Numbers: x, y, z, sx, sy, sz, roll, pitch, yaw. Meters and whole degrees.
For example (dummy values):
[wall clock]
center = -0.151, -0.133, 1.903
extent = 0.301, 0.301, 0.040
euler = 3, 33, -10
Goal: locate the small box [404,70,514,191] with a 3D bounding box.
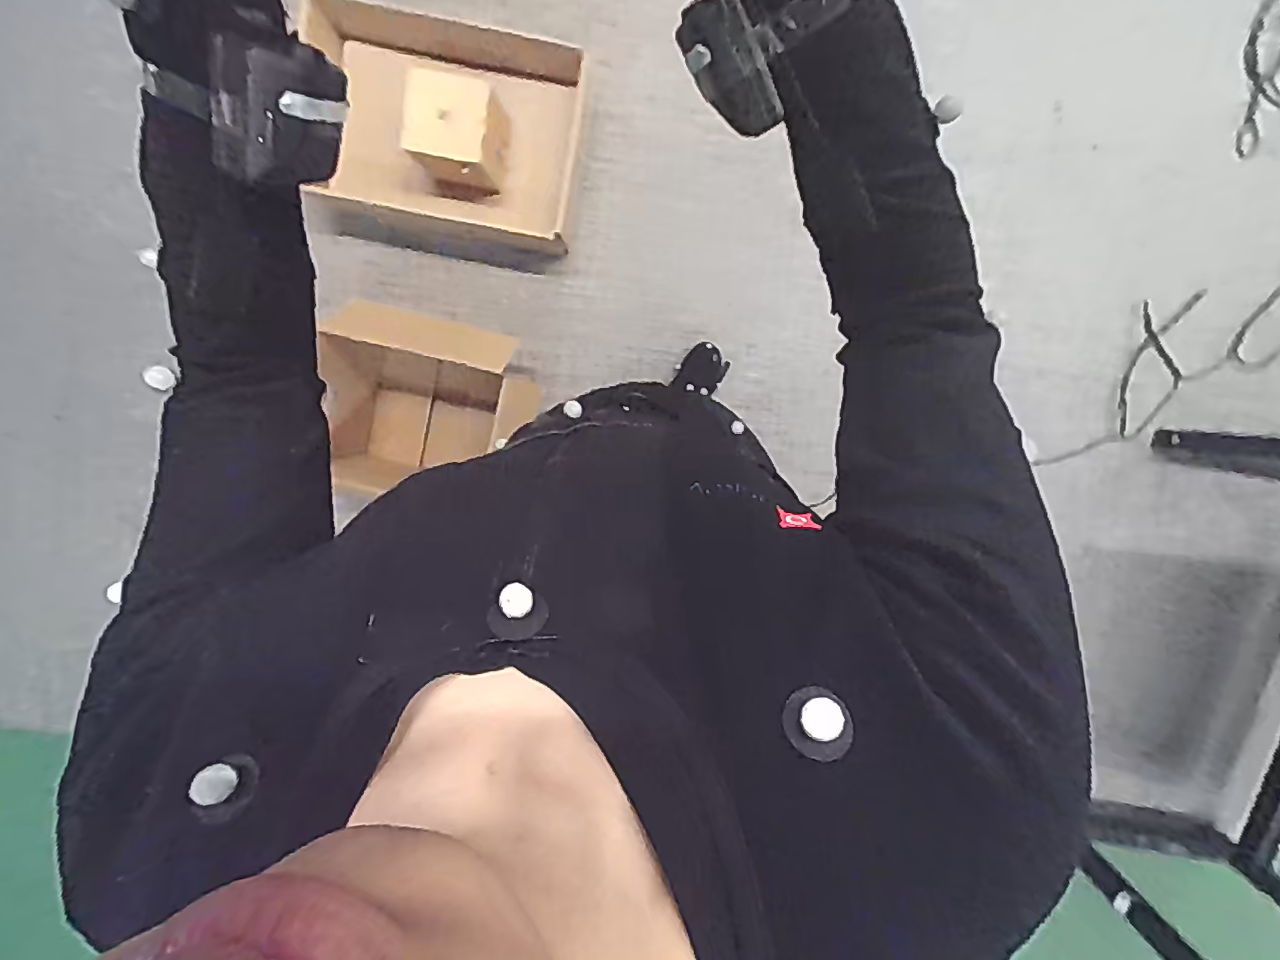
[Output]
[small box]
center = -0.403, -0.780, 1.225
extent = 0.179, 0.176, 0.168
euler = 11, 99, 0
